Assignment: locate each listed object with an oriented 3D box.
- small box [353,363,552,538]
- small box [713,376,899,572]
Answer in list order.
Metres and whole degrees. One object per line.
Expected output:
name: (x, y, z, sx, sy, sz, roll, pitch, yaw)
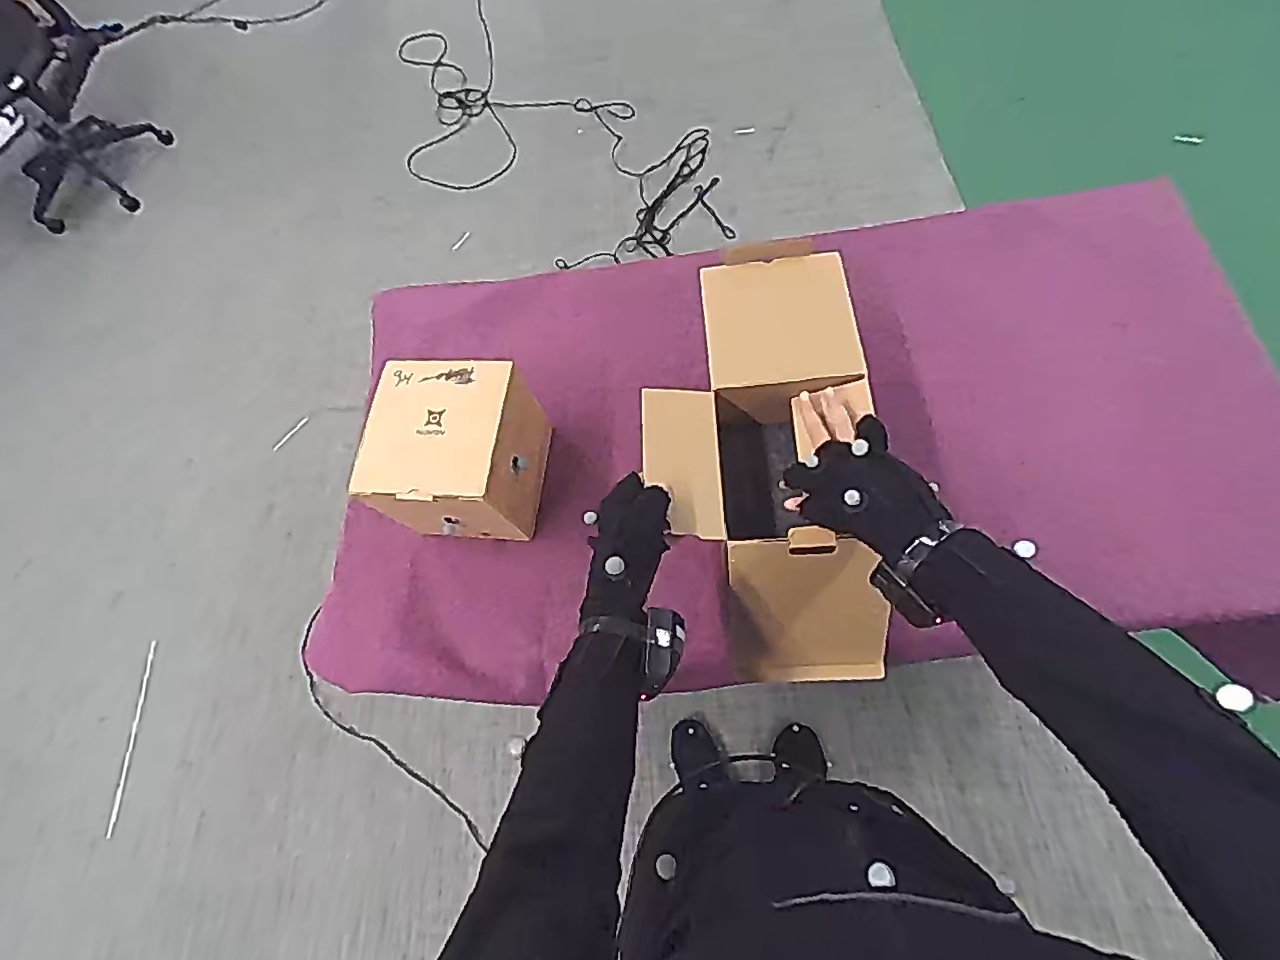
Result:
small box: (-0.222, -0.030, 0.693, 0.168, 0.176, 0.179, 3, 69, 9)
small box: (0.174, 0.005, 0.619, 0.168, 0.176, 0.179, -4, 68, 7)
